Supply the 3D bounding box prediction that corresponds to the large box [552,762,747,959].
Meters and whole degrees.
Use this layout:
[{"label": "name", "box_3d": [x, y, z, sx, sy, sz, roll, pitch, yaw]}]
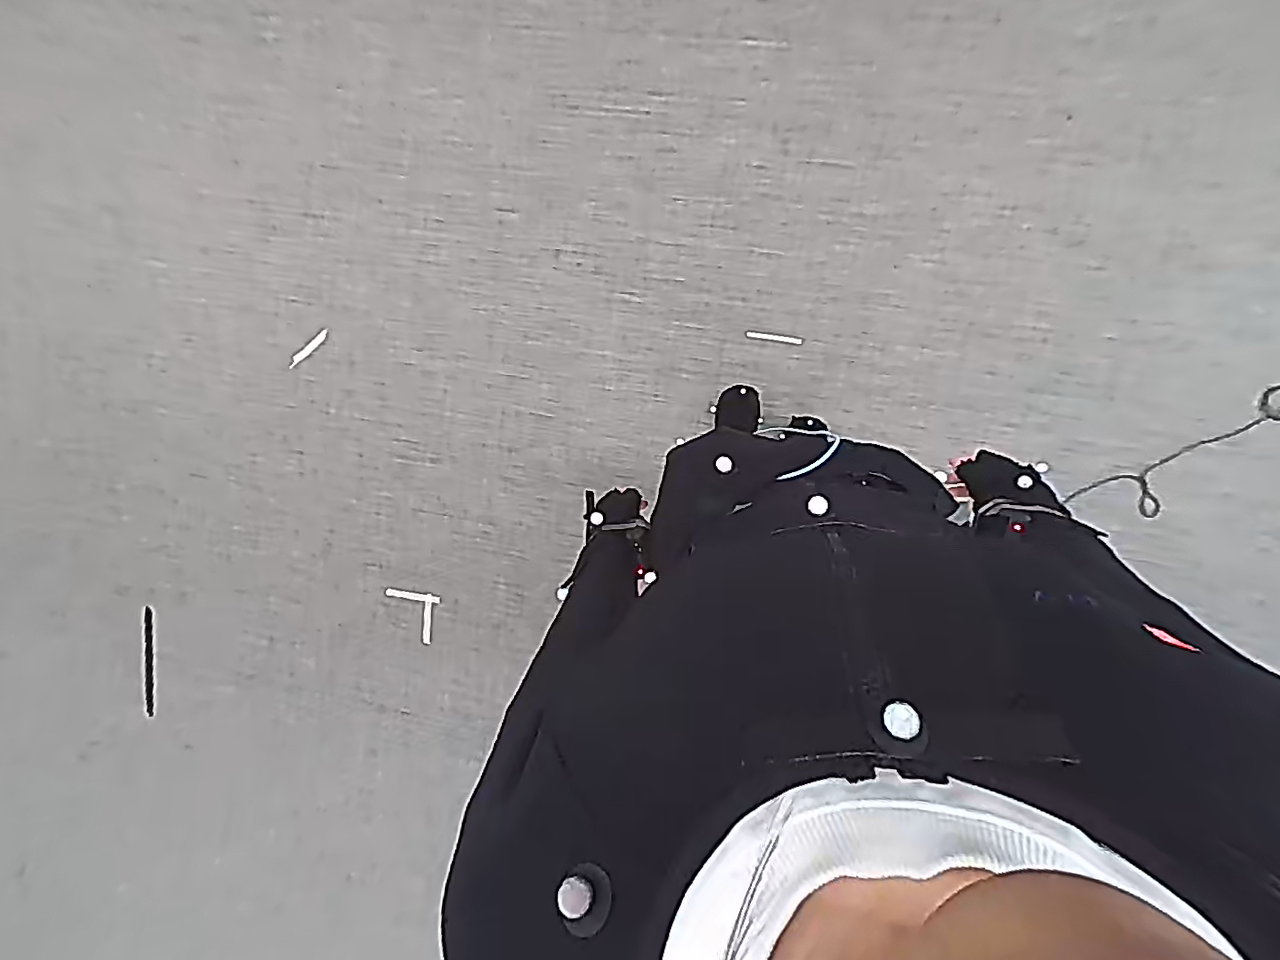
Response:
[{"label": "large box", "box_3d": [0.044, 1.068, 1.461, 0.408, 0.320, 0.320, 28, 99, 6]}]
